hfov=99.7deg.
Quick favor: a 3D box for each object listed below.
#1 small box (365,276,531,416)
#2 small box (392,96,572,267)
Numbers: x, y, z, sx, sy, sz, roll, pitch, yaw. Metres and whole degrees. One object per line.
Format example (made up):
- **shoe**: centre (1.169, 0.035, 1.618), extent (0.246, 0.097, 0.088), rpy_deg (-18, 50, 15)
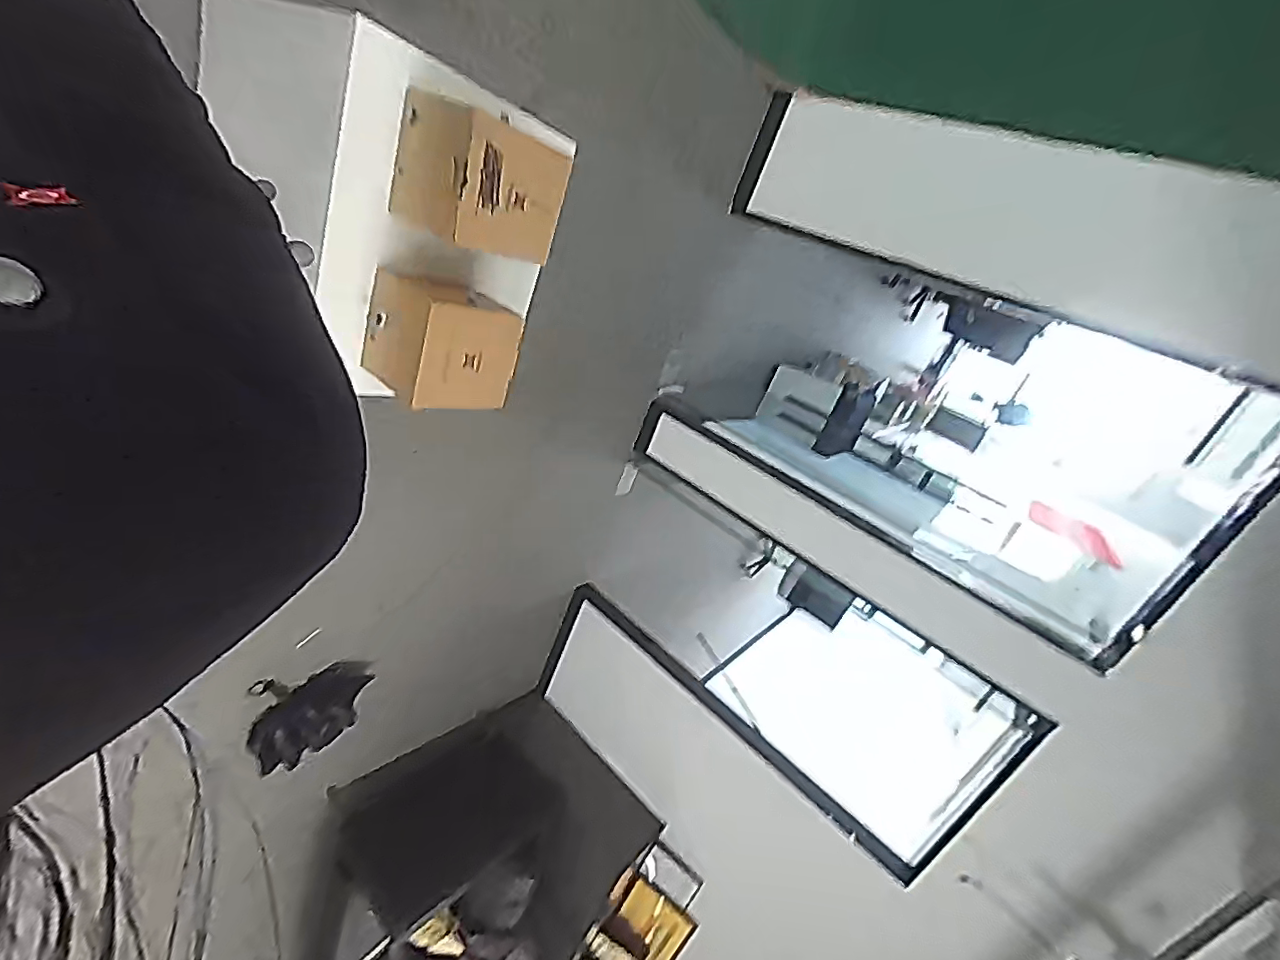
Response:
- **small box**: centre (-0.313, -0.215, 0.878), extent (0.179, 0.176, 0.168), rpy_deg (-10, 127, -51)
- **small box**: centre (-0.235, -0.435, 0.796), extent (0.179, 0.176, 0.168), rpy_deg (-13, 131, -53)
